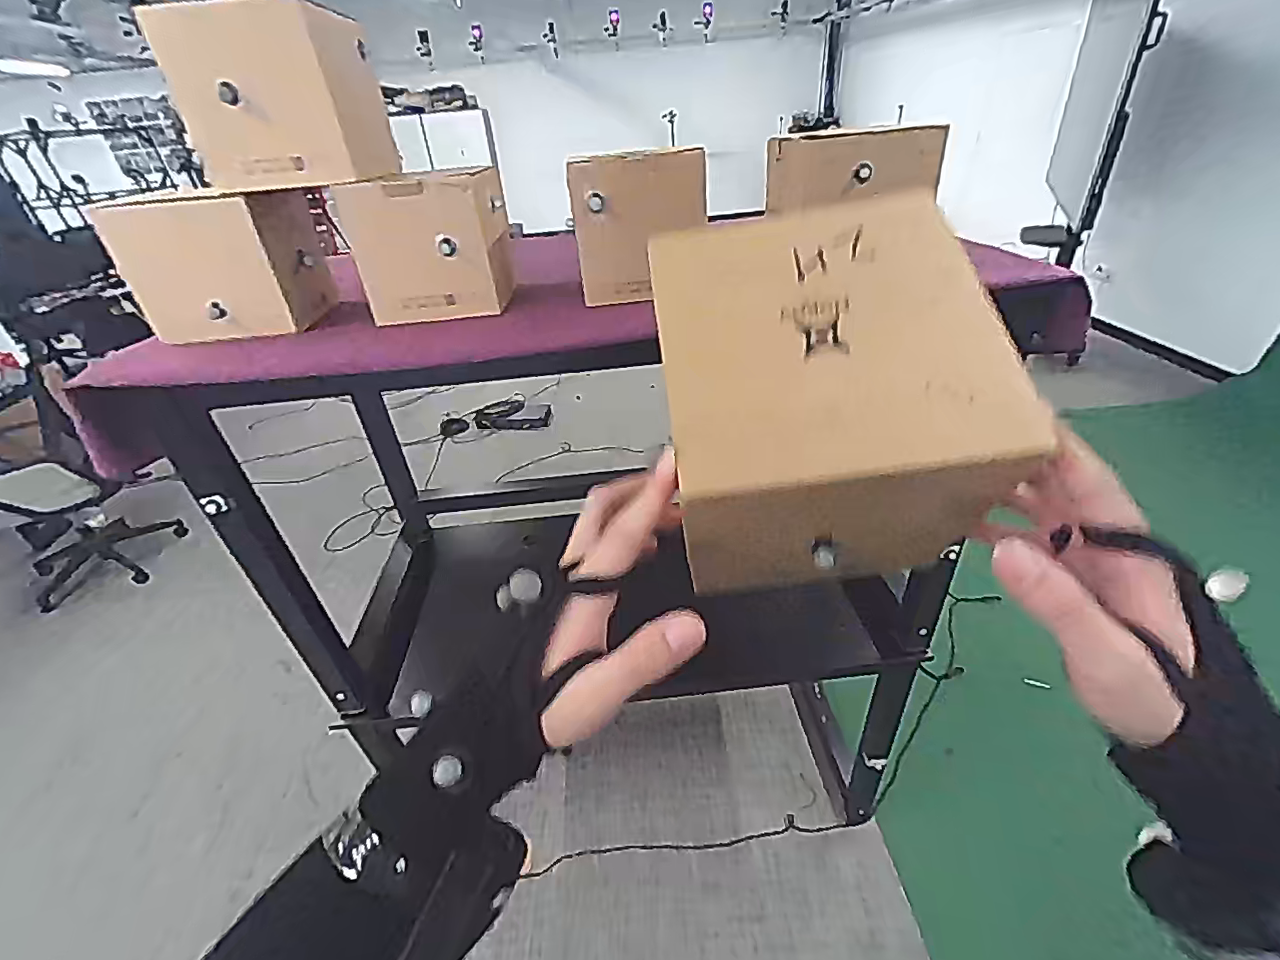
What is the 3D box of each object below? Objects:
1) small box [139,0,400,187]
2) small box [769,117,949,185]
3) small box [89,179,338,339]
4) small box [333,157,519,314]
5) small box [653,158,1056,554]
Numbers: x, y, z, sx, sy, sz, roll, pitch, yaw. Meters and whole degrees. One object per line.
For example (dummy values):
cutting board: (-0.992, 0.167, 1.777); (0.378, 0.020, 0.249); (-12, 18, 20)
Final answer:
small box: (-0.412, -0.453, 0.645); (0.168, 0.176, 0.179); (-6, 33, -1)
small box: (0.281, -0.385, 0.740); (0.179, 0.176, 0.168); (-5, 33, 0)
small box: (-0.541, -0.300, 0.724); (0.179, 0.176, 0.168); (-6, 33, -3)
small box: (-0.270, -0.328, 0.733); (0.168, 0.176, 0.179); (-4, 33, 1)
small box: (0.104, -0.059, 0.345); (0.168, 0.176, 0.179); (-7, 63, 5)
